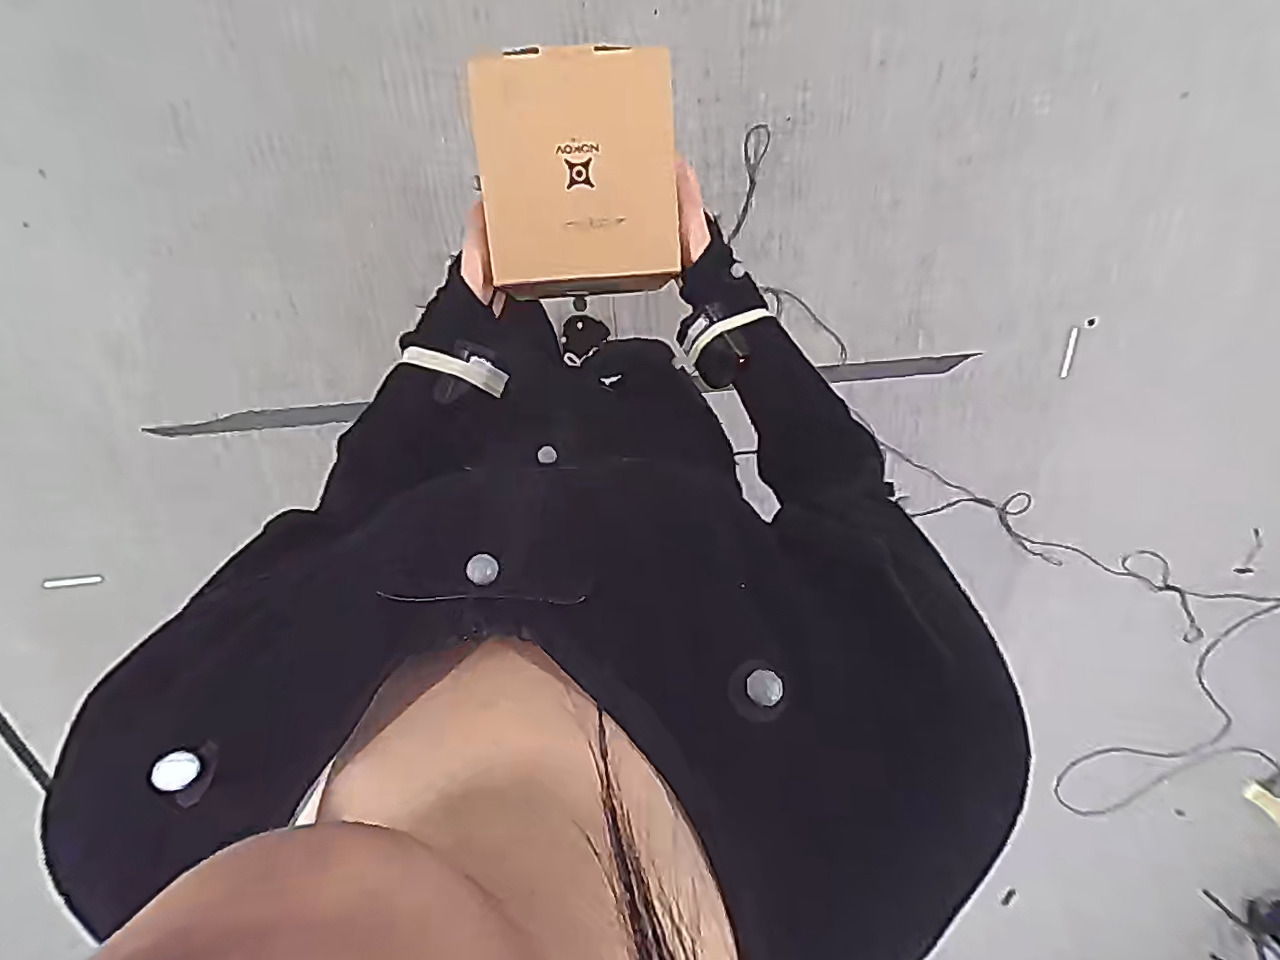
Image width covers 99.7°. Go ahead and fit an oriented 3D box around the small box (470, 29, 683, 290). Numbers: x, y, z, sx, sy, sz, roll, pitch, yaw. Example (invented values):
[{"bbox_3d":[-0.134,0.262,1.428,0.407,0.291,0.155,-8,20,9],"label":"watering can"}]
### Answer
[{"bbox_3d":[-0.056,-0.289,0.525,0.168,0.176,0.179,-5,104,-3],"label":"small box"}]
